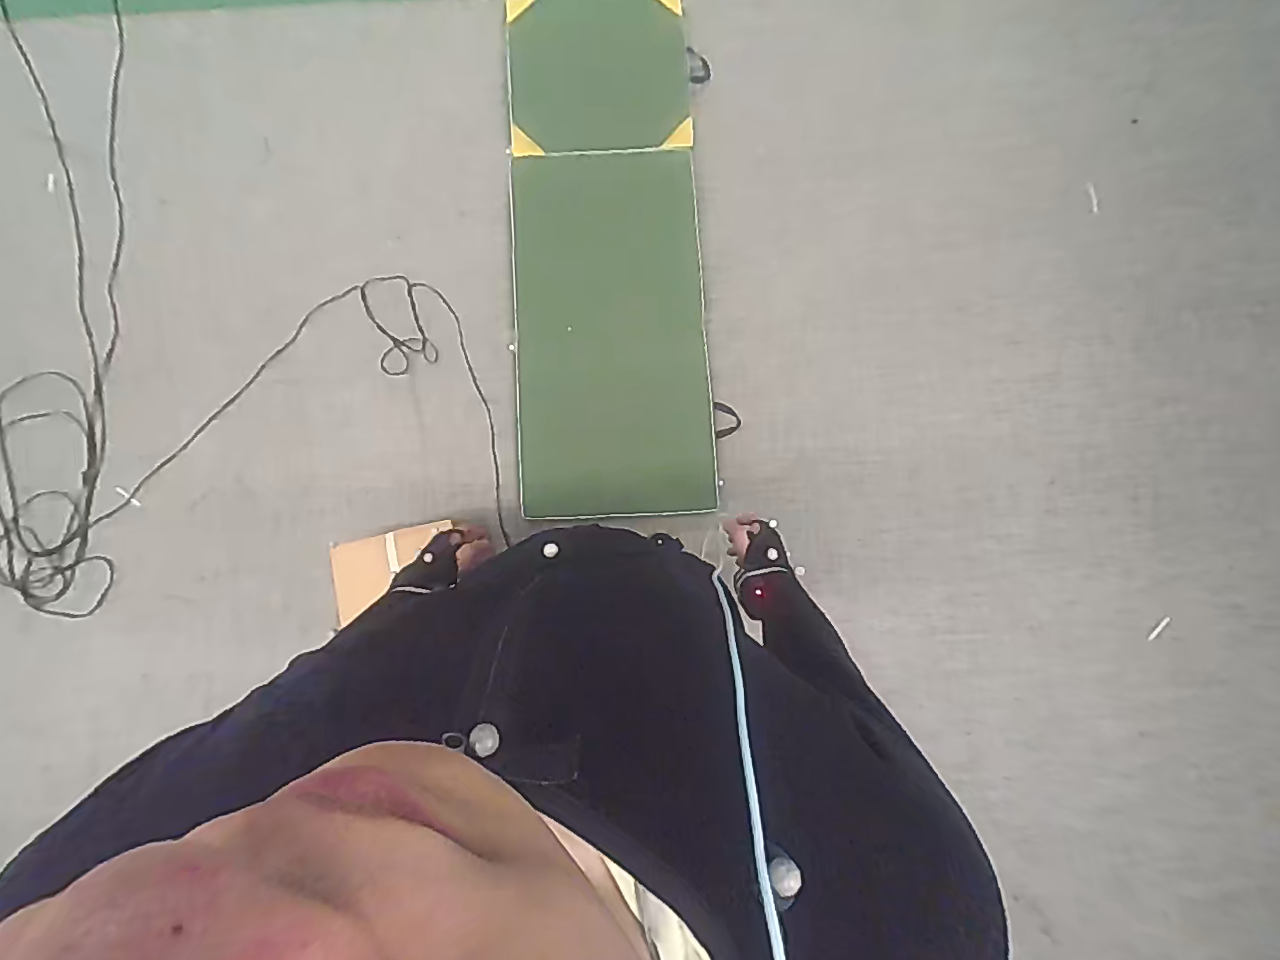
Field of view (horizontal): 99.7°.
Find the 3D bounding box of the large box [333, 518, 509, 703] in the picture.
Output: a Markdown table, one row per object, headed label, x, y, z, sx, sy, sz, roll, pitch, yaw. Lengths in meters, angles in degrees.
| label | x | y | z | sx | sy | sz | roll | pitch | yaw |
| --- | --- | --- | --- | --- | --- | --- | --- | --- | --- |
| large box | -0.582 | 0.342 | 1.490 | 0.320 | 0.320 | 0.408 | -12 | 82 | -2 |
